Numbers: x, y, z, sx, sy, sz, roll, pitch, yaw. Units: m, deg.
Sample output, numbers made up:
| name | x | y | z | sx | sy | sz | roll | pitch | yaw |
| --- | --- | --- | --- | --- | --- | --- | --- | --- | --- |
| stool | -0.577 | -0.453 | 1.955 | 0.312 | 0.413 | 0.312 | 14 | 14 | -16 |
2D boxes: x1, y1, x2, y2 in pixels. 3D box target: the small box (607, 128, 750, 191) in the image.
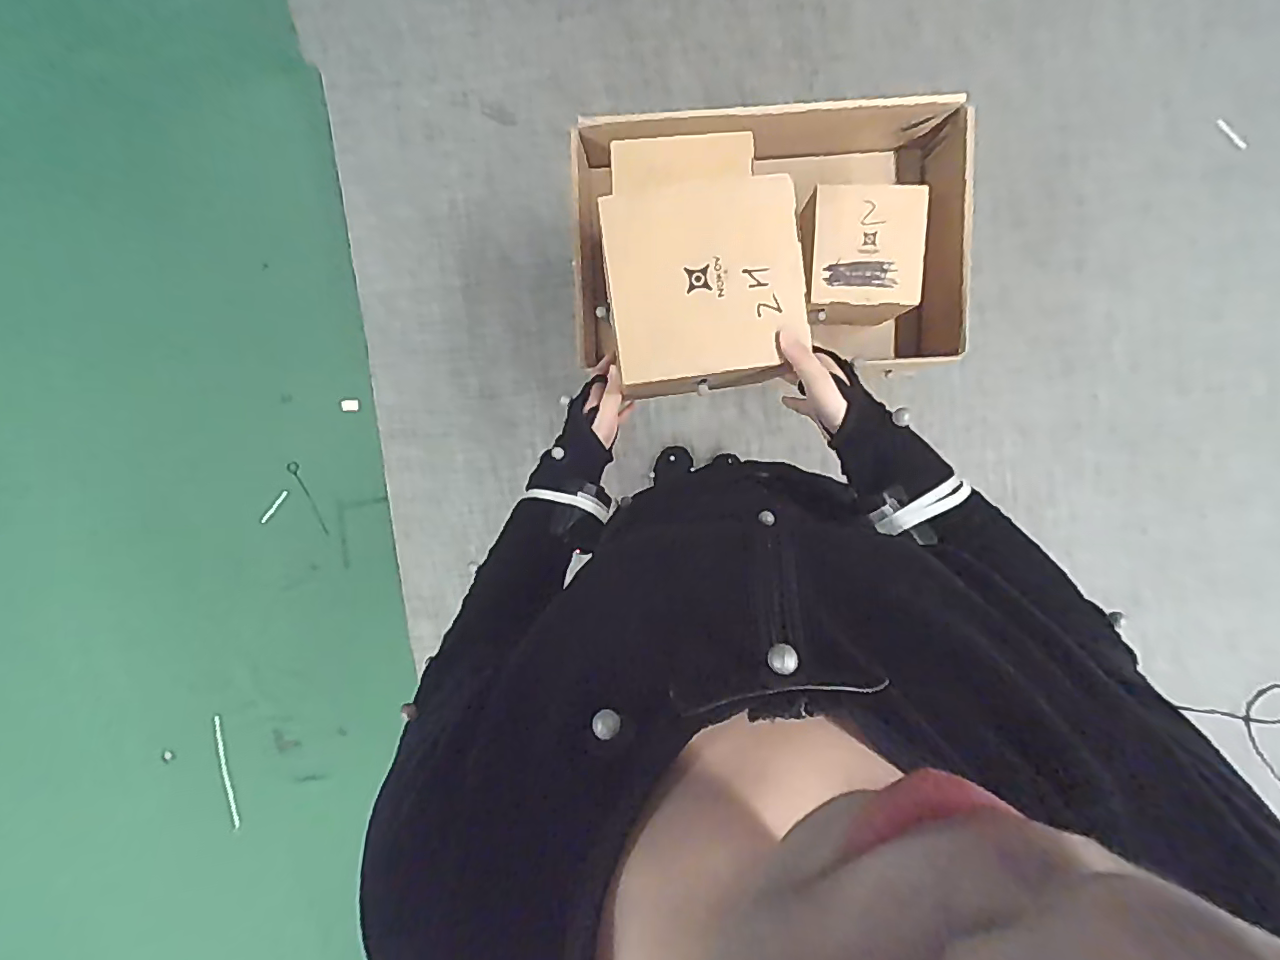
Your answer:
| name | x | y | z | sx | sy | sz | roll | pitch | yaw |
| --- | --- | --- | --- | --- | --- | --- | --- | --- | --- |
| small box | 0.052 | -0.350 | 0.742 | 0.179 | 0.176 | 0.168 | -2 | 96 | 1 |

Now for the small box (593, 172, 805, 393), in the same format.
| name | x | y | z | sx | sy | sz | roll | pitch | yaw |
| --- | --- | --- | --- | --- | --- | --- | --- | --- | --- |
| small box | 0.052 | -0.186 | 0.557 | 0.179 | 0.176 | 0.168 | -8 | 95 | -2 |
